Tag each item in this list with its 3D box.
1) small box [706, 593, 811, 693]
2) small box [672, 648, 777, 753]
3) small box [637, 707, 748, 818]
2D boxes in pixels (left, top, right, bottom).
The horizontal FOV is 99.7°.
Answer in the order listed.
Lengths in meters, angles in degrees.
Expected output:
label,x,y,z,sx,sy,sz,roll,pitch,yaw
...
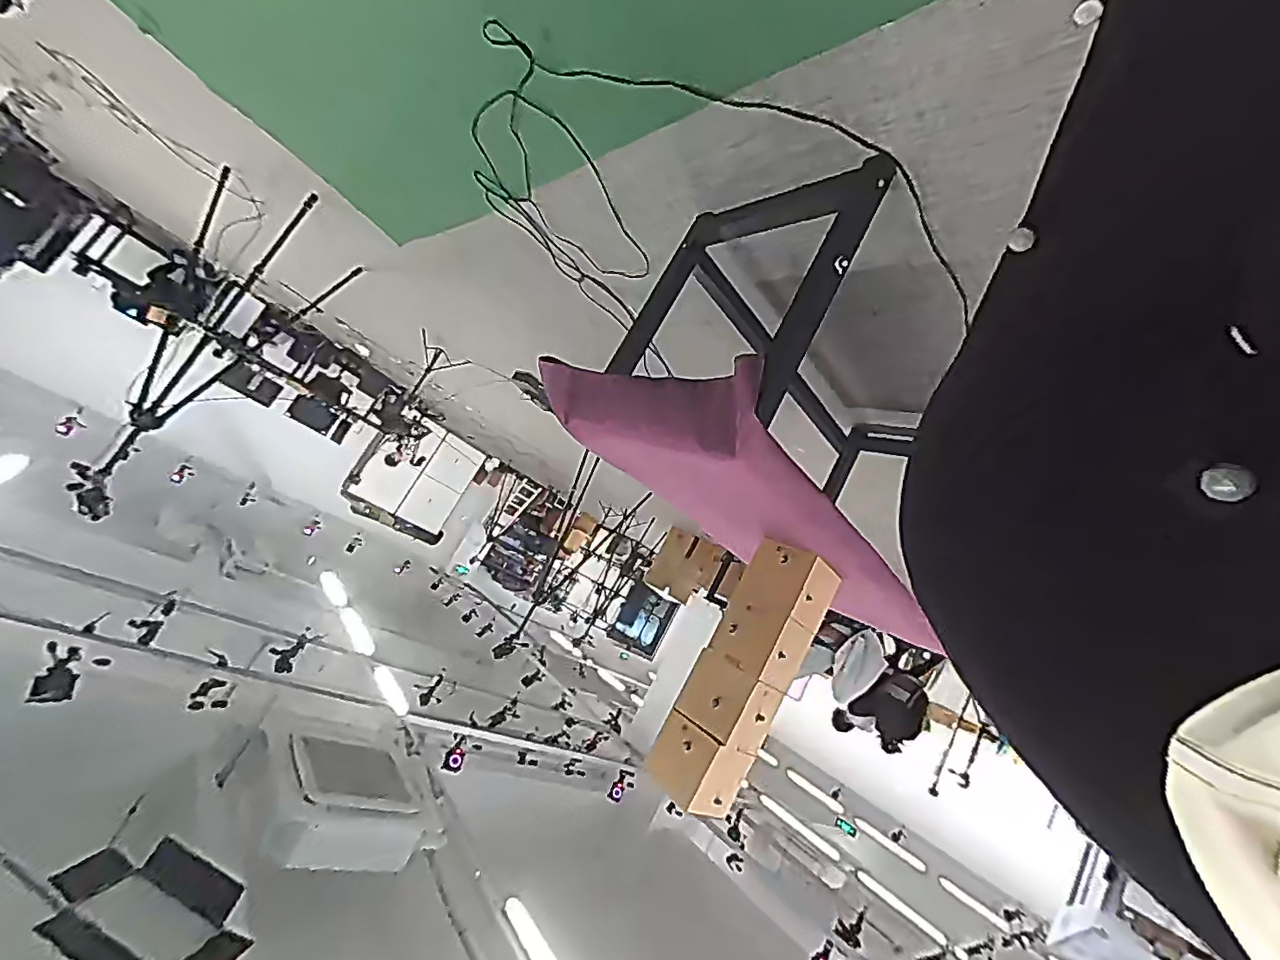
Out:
label,x,y,z,sx,sy,sz,roll,pitch,yaw
small box,0.303,0.407,1.370,0.168,0.176,0.179,19,165,46
small box,0.218,0.544,1.345,0.179,0.176,0.168,19,163,46
small box,0.134,0.683,1.316,0.168,0.176,0.179,19,163,48
